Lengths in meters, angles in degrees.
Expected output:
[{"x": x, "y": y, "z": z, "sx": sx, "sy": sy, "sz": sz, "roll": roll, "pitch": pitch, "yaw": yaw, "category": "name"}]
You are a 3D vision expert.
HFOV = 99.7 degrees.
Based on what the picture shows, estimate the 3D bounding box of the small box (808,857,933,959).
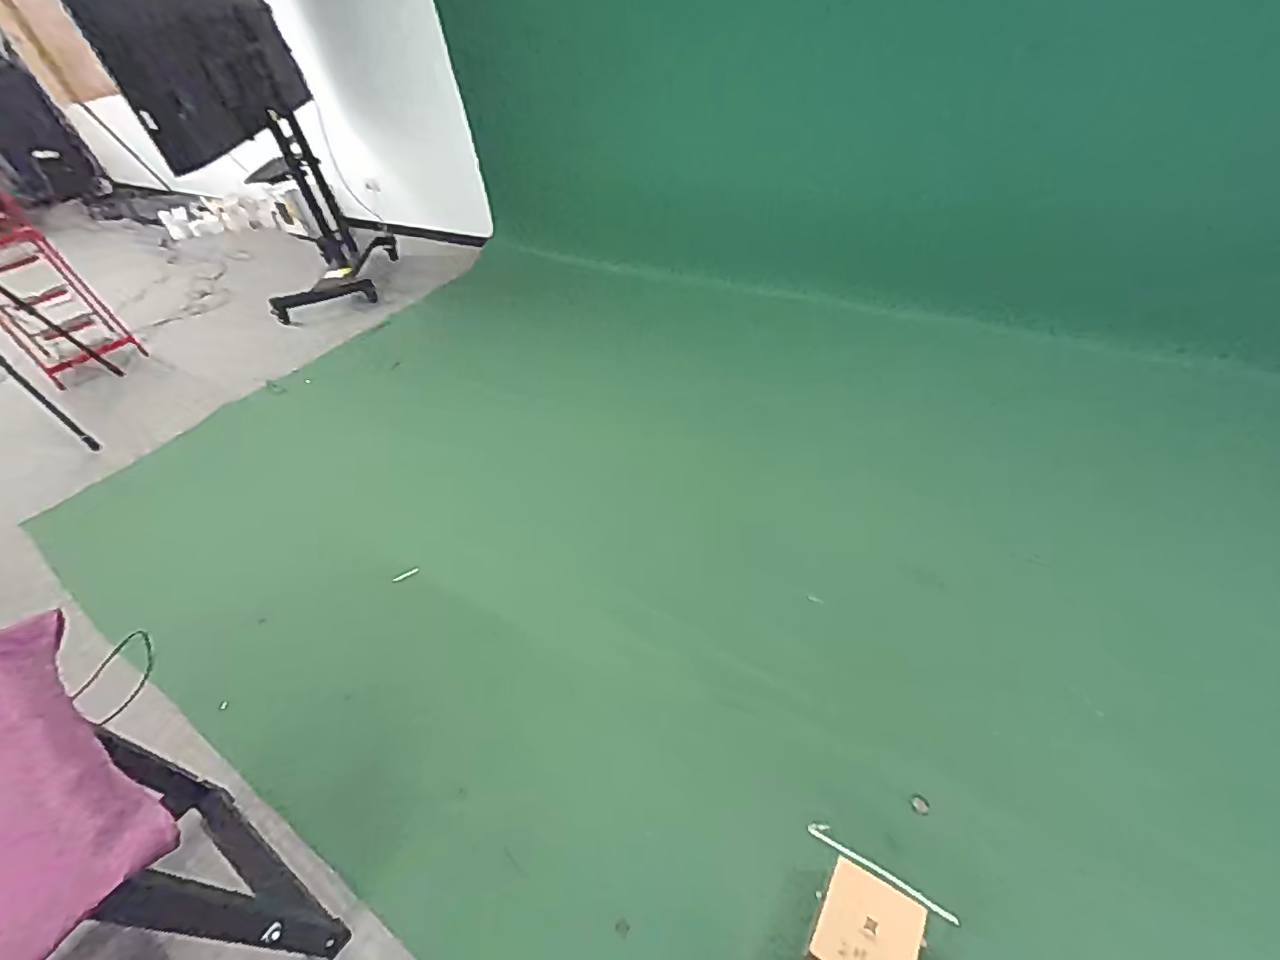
[{"x": 0.434, "y": 0.878, "z": 1.038, "sx": 0.168, "sy": 0.176, "sz": 0.179, "roll": 20, "pitch": 51, "yaw": 27, "category": "small box"}]
